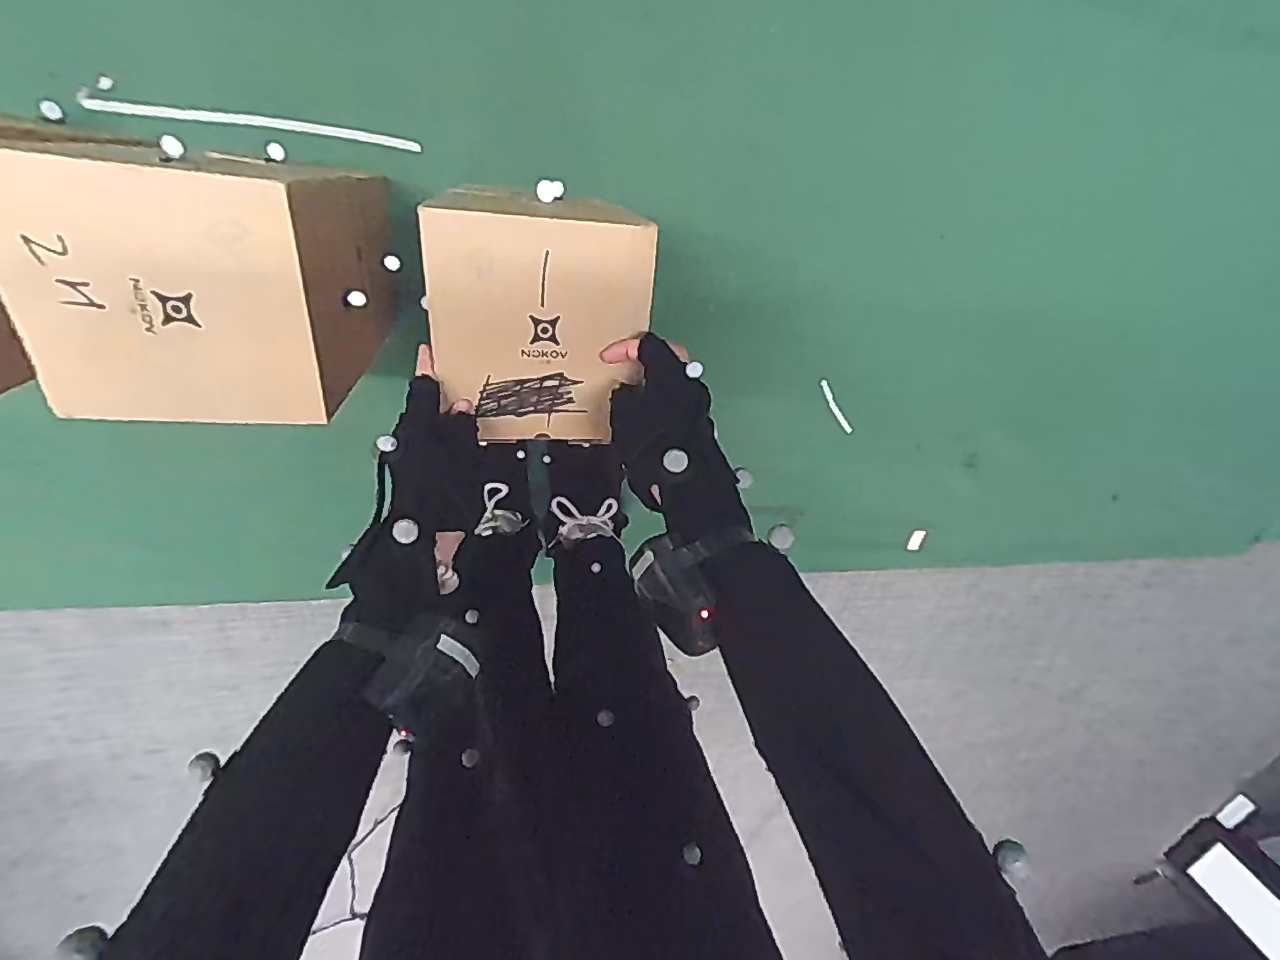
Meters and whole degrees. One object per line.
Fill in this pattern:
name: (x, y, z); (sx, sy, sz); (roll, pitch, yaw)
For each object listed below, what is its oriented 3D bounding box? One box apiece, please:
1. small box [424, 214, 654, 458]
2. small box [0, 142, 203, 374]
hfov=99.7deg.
small box: (-0.090, -0.135, 0.493); (0.168, 0.176, 0.179); (-1, 119, -12)
small box: (-0.575, -0.221, 0.533); (0.168, 0.176, 0.179); (3, 118, -14)
